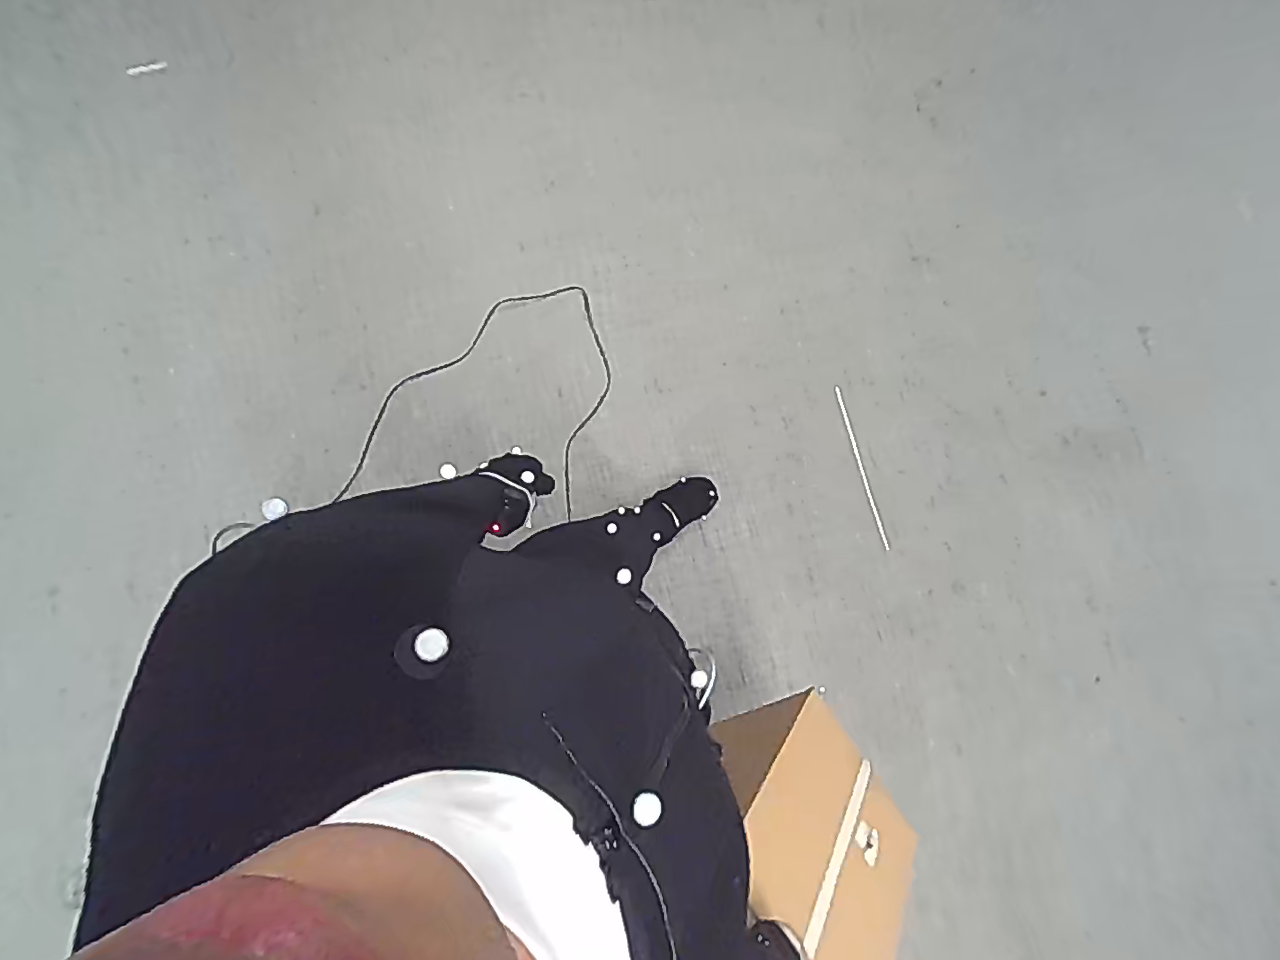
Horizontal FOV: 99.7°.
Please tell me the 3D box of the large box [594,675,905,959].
[{"bbox_3d":[0.200,0.618,0.928,0.320,0.408,0.320,-38,82,35],"label":"large box"}]
